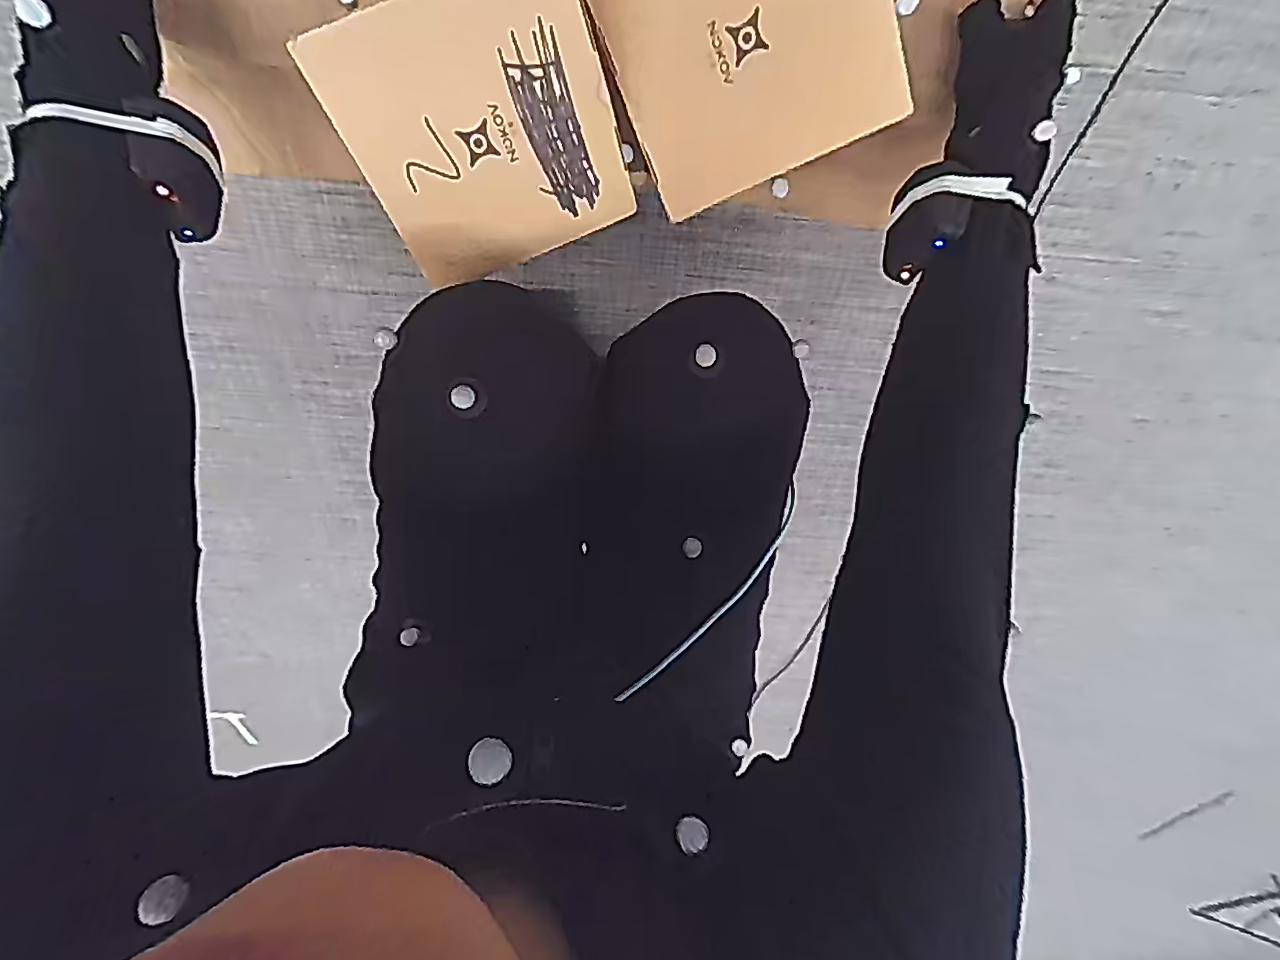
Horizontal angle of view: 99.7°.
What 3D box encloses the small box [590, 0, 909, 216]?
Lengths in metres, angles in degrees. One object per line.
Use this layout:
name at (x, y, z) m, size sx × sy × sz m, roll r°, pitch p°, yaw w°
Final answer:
small box at (0.095, -0.334, 0.413) m, size 0.179 × 0.176 × 0.168 m, roll -10°, pitch 119°, yaw 32°
